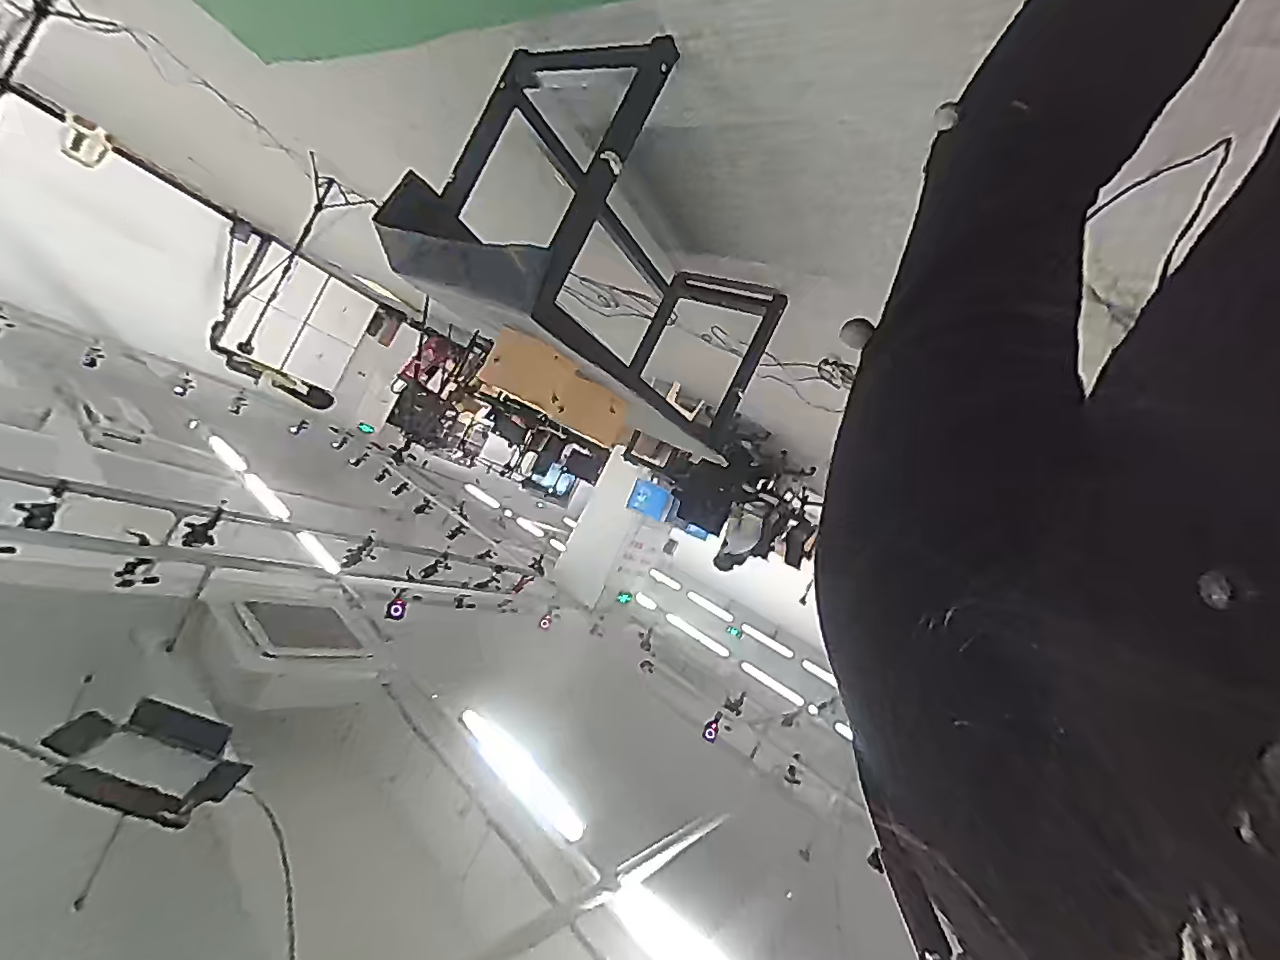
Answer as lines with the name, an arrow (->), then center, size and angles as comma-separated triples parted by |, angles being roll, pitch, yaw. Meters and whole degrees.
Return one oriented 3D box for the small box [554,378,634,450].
small box -> -0.153, -0.228, 1.834 | 0.179, 0.176, 0.168 | 27, 180, 34
